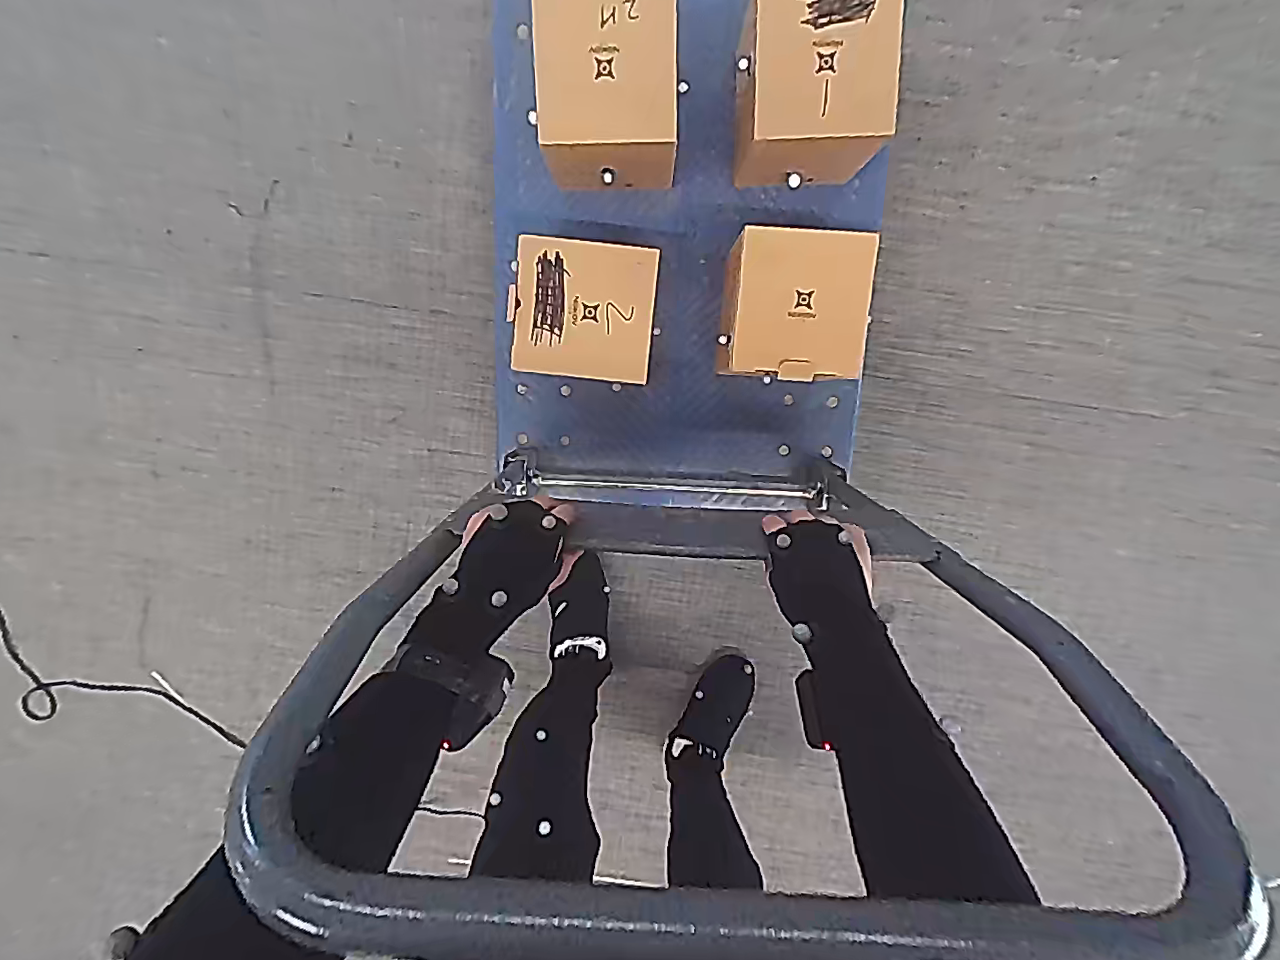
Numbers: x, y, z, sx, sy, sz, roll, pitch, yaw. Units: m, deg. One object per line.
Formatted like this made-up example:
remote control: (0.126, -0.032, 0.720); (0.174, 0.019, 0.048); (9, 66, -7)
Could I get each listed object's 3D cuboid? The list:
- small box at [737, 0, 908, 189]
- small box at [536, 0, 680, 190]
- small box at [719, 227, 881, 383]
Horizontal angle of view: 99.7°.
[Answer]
small box: (0.219, -0.494, 0.691); (0.168, 0.176, 0.179); (0, 102, 2)
small box: (-0.035, -0.490, 0.698); (0.168, 0.176, 0.179); (0, 101, 1)
small box: (0.206, -0.229, 0.744); (0.168, 0.176, 0.179); (4, 101, 0)
